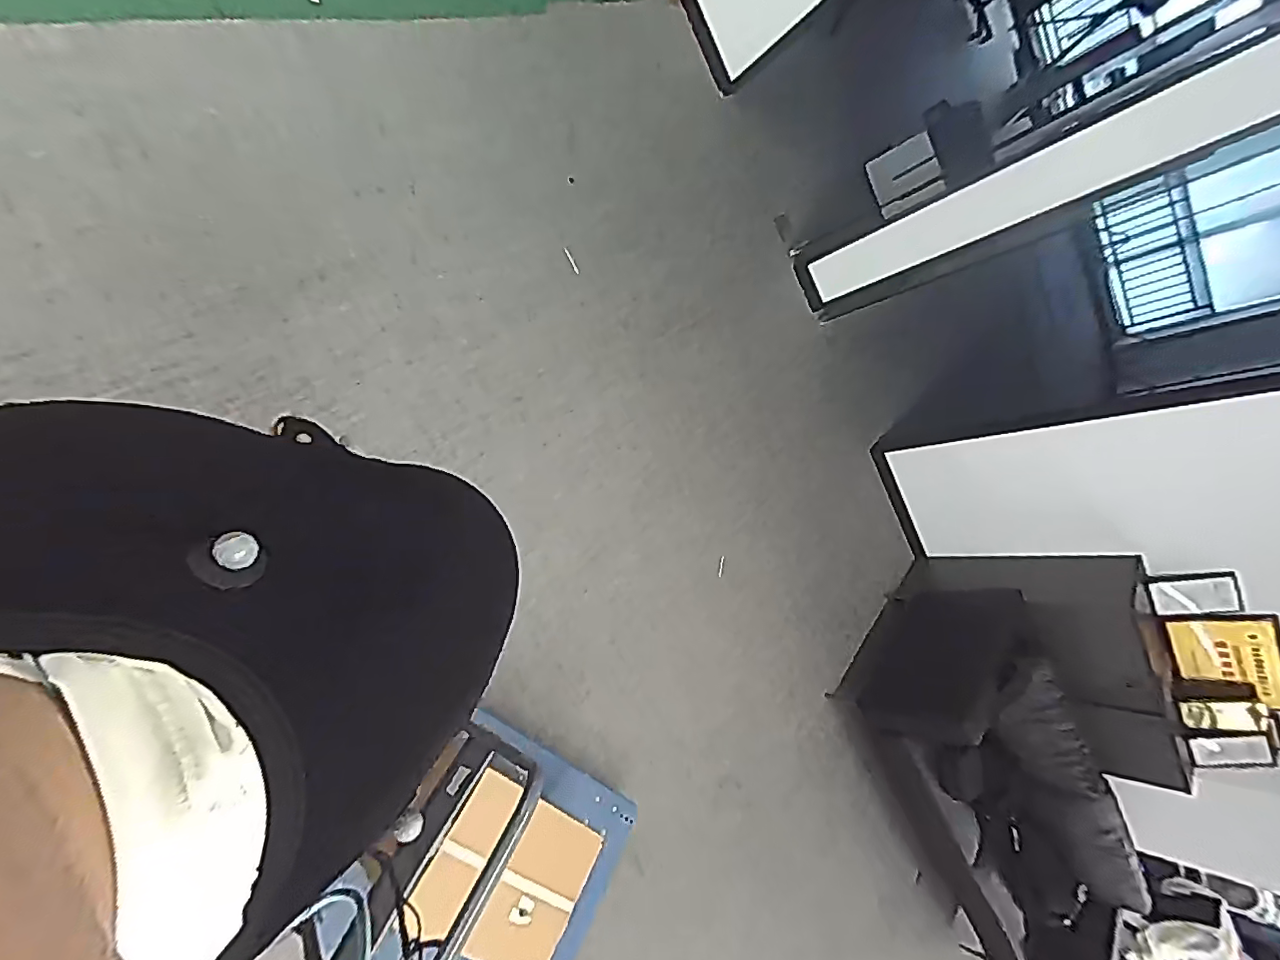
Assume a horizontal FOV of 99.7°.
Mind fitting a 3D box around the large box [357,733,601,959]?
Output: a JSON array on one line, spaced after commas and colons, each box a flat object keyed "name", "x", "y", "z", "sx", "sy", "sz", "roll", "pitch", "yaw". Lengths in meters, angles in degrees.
[{"name": "large box", "x": -0.383, "y": 0.875, "z": 1.307, "sx": 0.408, "sy": 0.320, "sz": 0.320, "roll": 47, "pitch": 58, "yaw": -25}]
